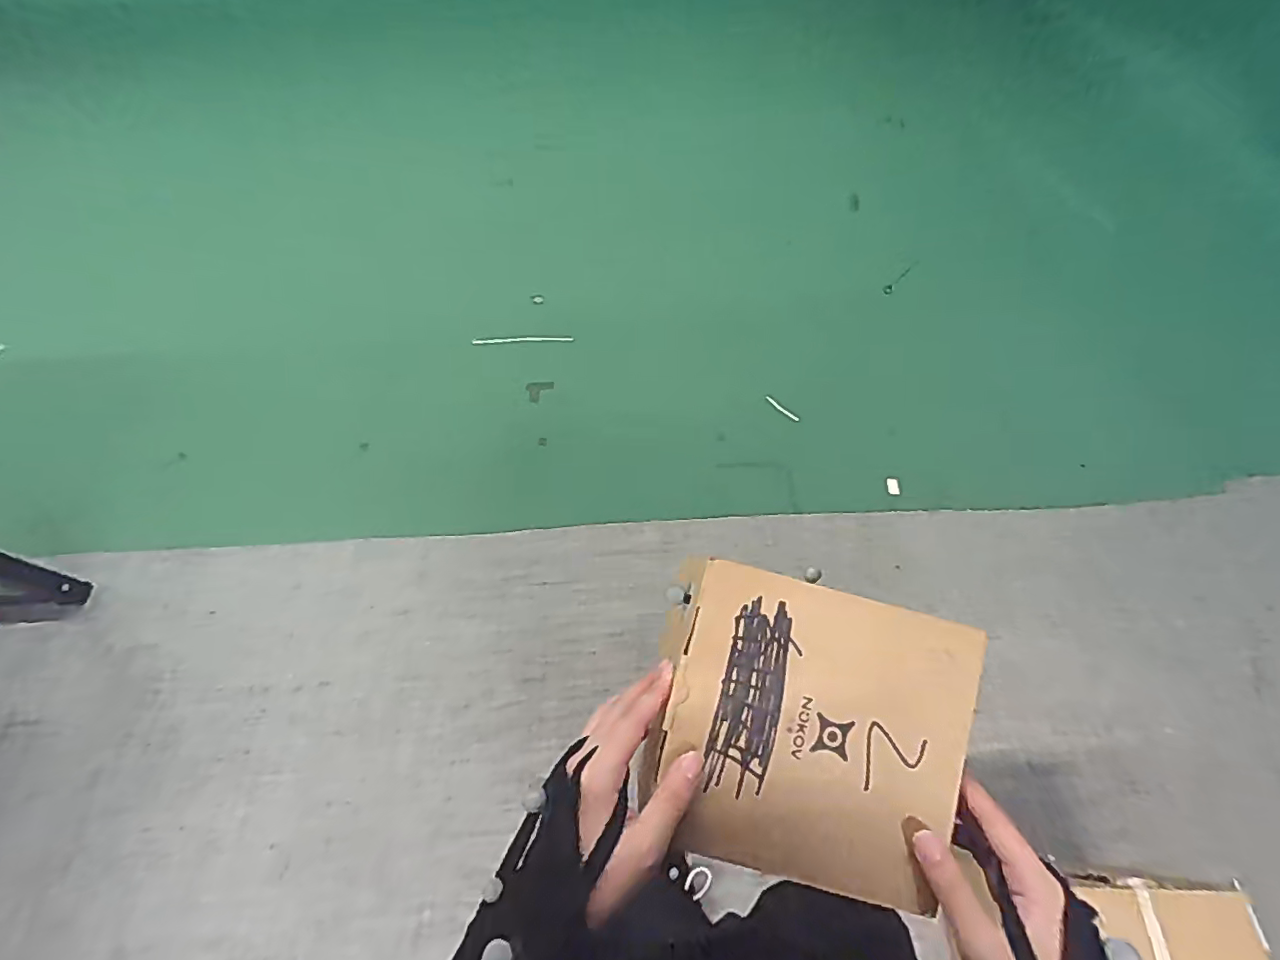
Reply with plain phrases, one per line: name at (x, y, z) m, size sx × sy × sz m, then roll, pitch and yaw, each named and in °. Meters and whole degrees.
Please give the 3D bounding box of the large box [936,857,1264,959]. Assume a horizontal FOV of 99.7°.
large box at (0.730, 0.851, 0.843) m, size 0.320 × 0.320 × 0.408 m, roll 1°, pitch 63°, yaw 0°
